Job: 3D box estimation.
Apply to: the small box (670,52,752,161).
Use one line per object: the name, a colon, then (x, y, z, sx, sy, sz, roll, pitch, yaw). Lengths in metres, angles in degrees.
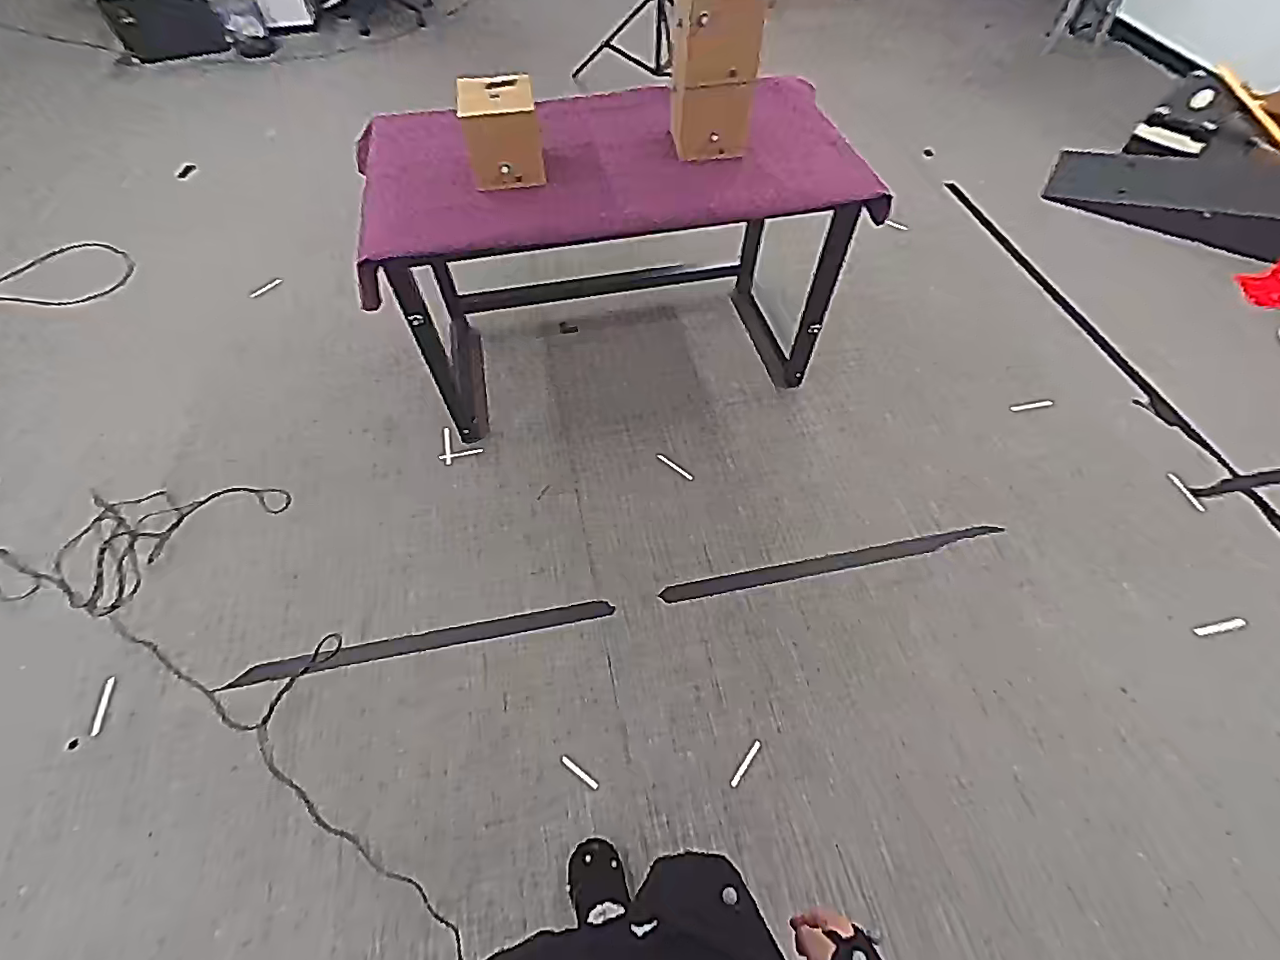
small box: (0.167, -0.919, 1.334, 0.168, 0.176, 0.179, -6, 58, -2)

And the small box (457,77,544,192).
small box: (-0.324, -0.806, 1.266, 0.168, 0.176, 0.179, -9, 59, -5)
